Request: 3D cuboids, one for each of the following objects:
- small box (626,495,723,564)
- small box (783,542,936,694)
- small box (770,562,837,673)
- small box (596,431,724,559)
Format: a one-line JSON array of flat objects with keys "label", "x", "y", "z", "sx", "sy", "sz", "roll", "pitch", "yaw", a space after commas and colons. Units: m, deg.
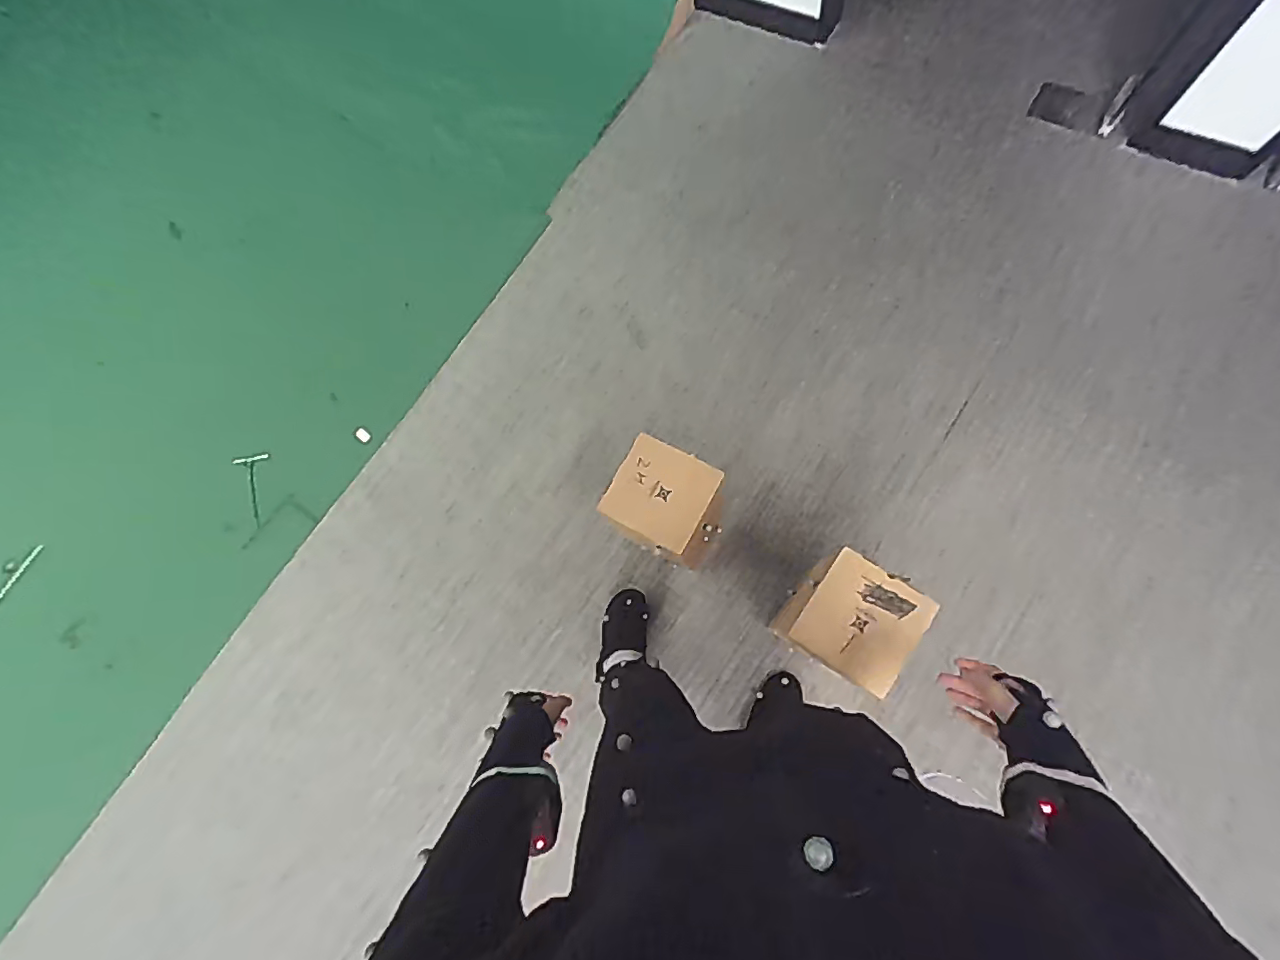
[{"label": "small box", "x": 0.069, "y": 0.073, "z": 1.185, "sx": 0.179, "sy": 0.176, "sz": 0.168, "roll": 27, "pitch": 81, "yaw": 15}, {"label": "small box", "x": 0.359, "y": 0.232, "z": 0.923, "sx": 0.168, "sy": 0.176, "sz": 0.179, "roll": 33, "pitch": 83, "yaw": 17}, {"label": "small box", "x": 0.411, "y": 0.312, "z": 1.237, "sx": 0.168, "sy": 0.176, "sz": 0.179, "roll": 33, "pitch": 83, "yaw": 15}, {"label": "small box", "x": 0.047, "y": 0.037, "z": 1.025, "sx": 0.179, "sy": 0.176, "sz": 0.168, "roll": 28, "pitch": 80, "yaw": 16}]
